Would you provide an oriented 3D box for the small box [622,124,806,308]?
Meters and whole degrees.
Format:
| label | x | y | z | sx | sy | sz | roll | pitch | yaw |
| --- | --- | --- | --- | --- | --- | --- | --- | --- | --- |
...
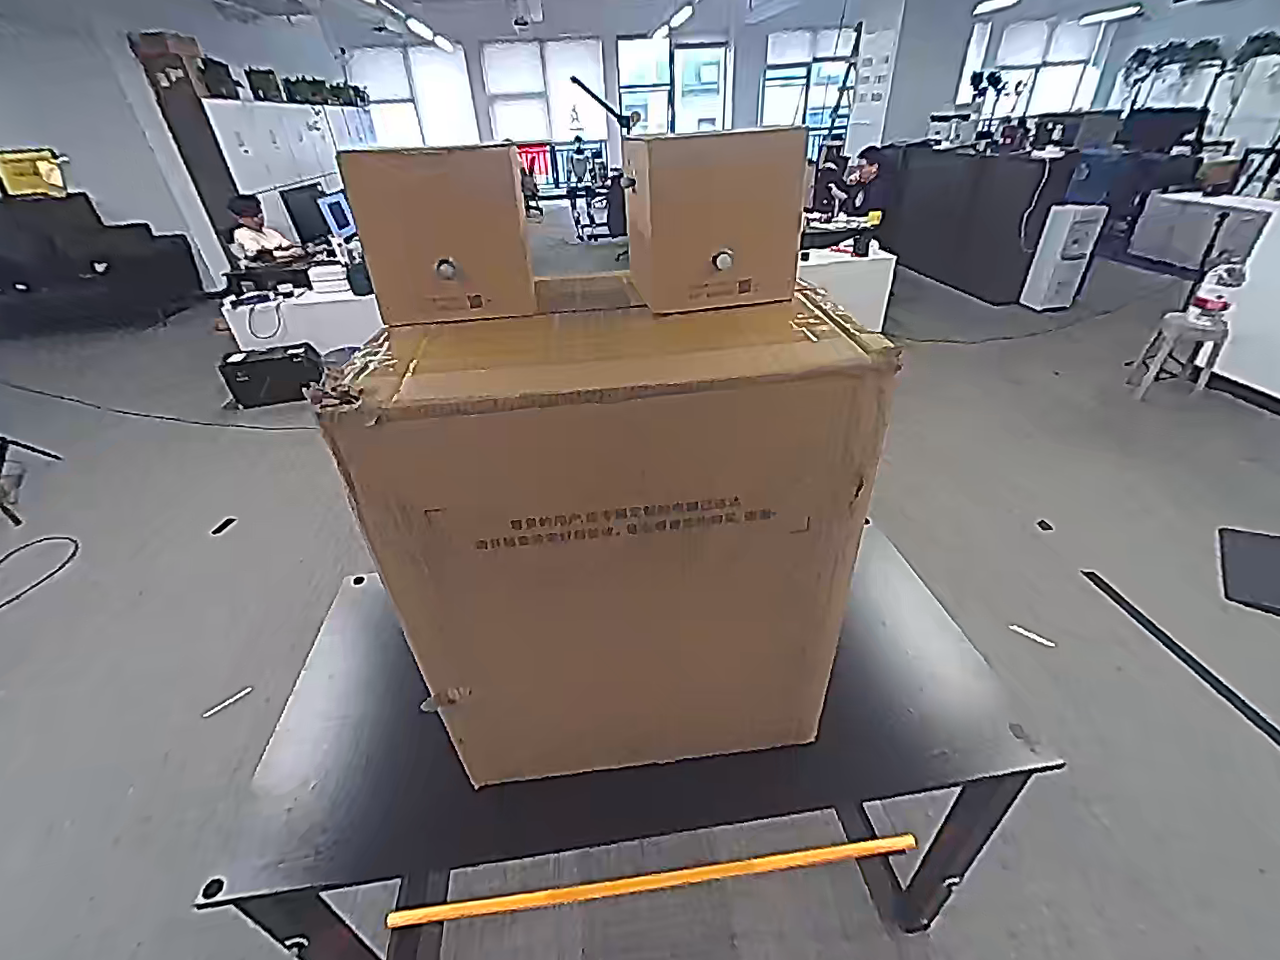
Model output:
| label | x | y | z | sx | sy | sz | roll | pitch | yaw |
| --- | --- | --- | --- | --- | --- | --- | --- | --- | --- |
| small box | 0.074 | -0.308 | 0.632 | 0.168 | 0.176 | 0.179 | -8 | 33 | -6 |

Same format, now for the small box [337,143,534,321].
| label | x | y | z | sx | sy | sz | roll | pitch | yaw |
| --- | --- | --- | --- | --- | --- | --- | --- | --- | --- |
| small box | -0.220 | -0.294 | 0.635 | 0.168 | 0.176 | 0.179 | -7 | 33 | -6 |
